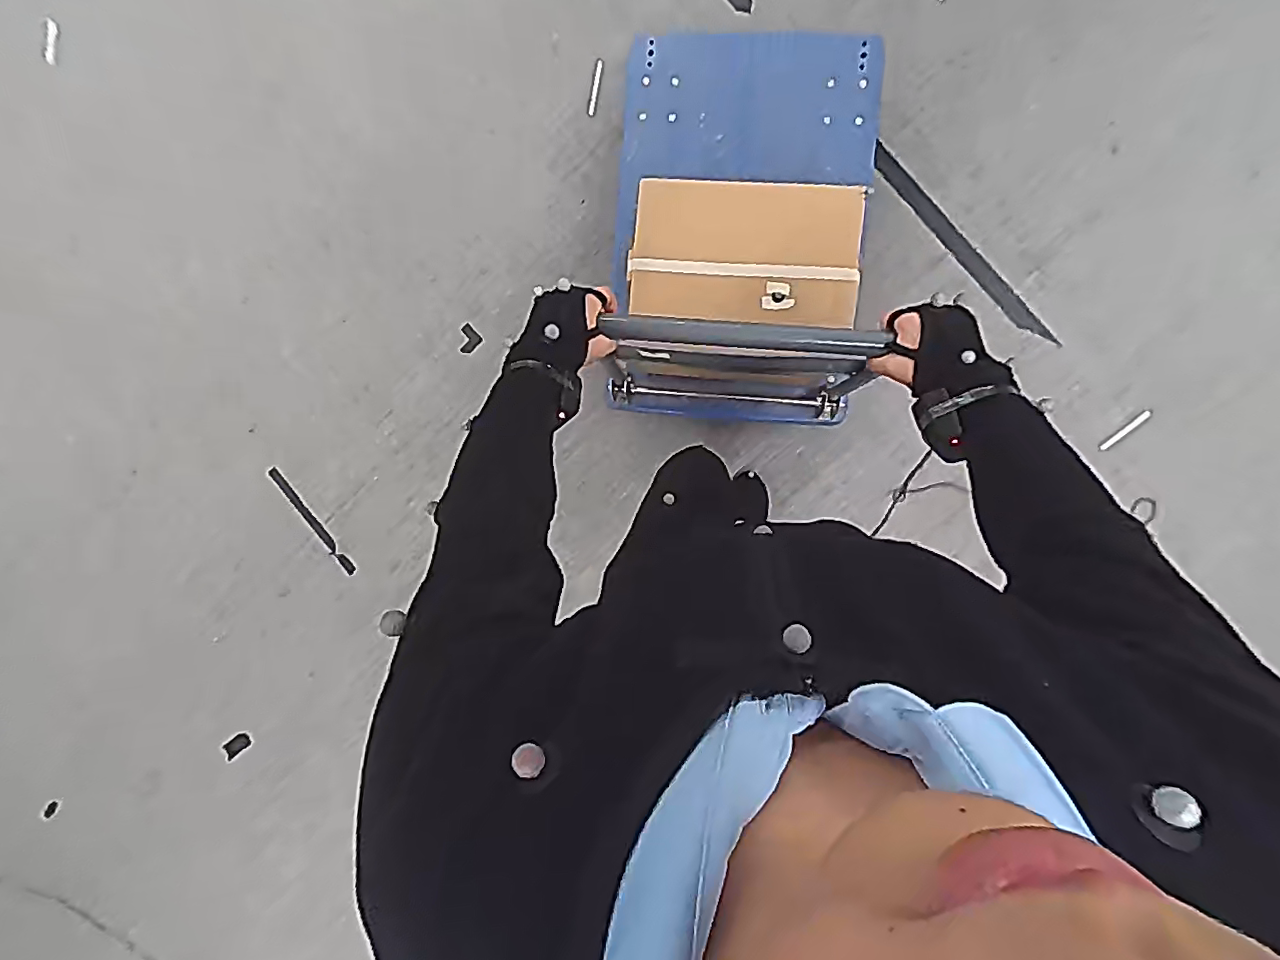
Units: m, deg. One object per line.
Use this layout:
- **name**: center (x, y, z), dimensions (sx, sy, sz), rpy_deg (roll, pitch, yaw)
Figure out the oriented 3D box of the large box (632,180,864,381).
- **large box**: center (0.202, -0.390, 1.130), dimensions (0.408, 0.320, 0.320), rpy_deg (5, 94, 5)
